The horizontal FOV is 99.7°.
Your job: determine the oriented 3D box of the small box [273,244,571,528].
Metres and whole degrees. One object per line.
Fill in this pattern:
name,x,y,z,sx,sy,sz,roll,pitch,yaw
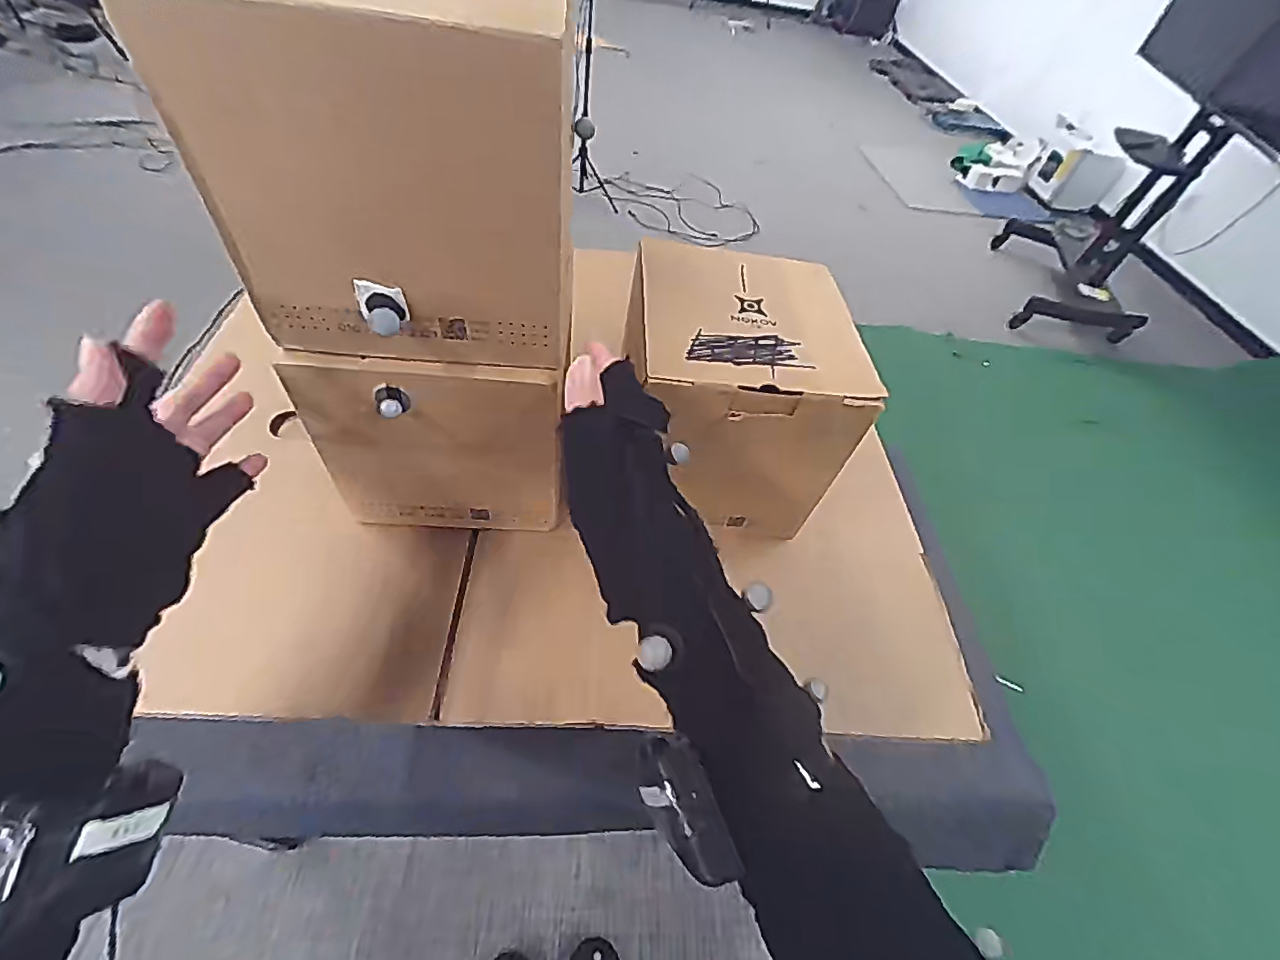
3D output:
small box,-0.145,-0.083,0.437,0.168,0.176,0.179,3,51,-5

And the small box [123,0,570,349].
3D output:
small box,-0.125,-0.199,0.304,0.168,0.176,0.179,1,53,-7
